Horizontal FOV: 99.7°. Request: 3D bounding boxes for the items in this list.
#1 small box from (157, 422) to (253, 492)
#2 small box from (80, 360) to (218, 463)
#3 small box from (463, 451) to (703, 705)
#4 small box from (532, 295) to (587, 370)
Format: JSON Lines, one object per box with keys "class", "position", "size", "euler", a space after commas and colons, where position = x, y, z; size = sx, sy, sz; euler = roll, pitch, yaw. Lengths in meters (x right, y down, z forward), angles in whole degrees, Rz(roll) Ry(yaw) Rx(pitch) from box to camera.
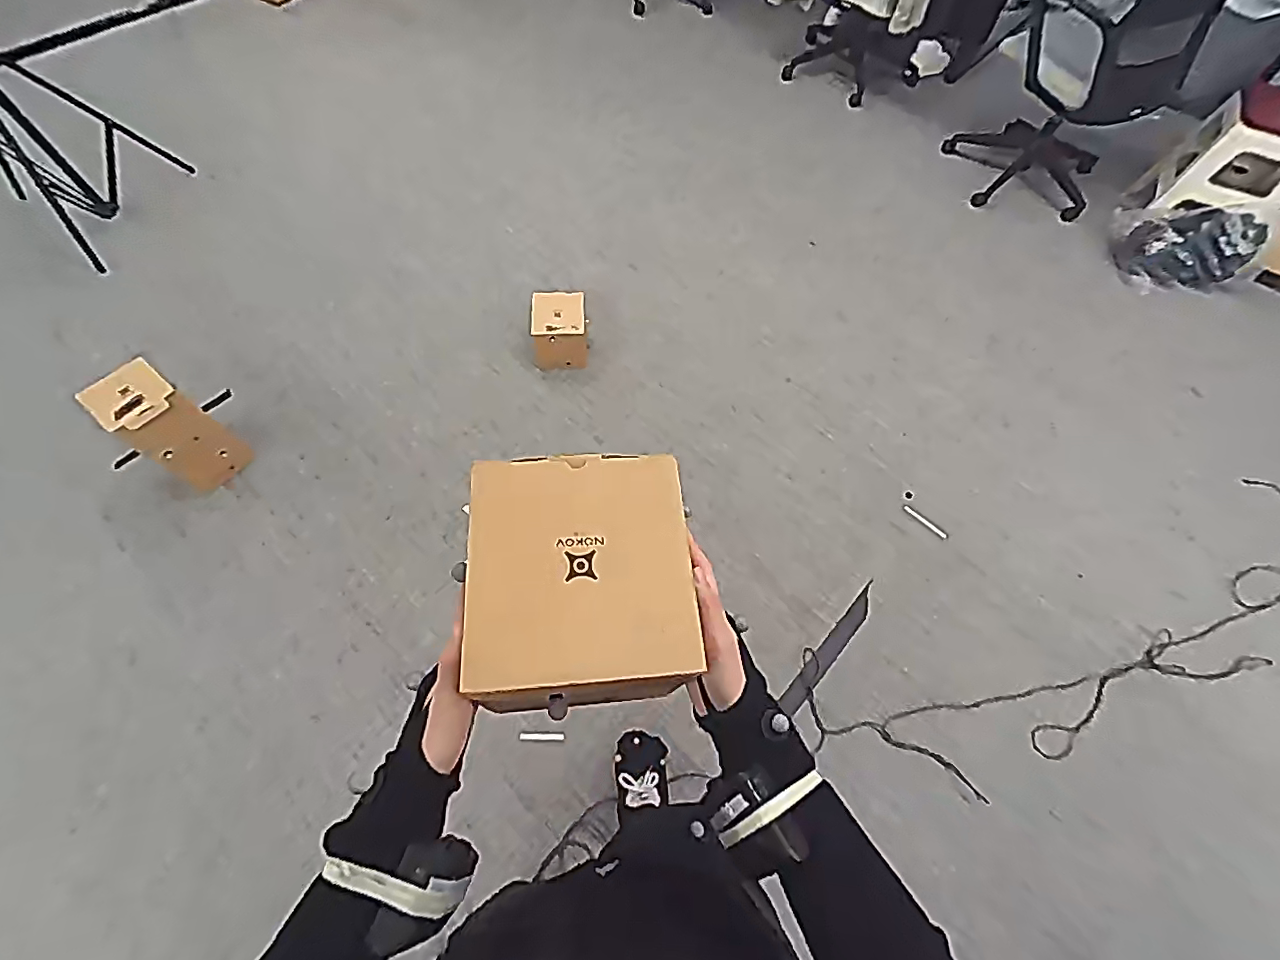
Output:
{"class": "small box", "position": [-1.263, -0.090, 1.541], "size": [0.179, 0.176, 0.168], "euler": [35, 66, 16]}
{"class": "small box", "position": [-1.254, -0.169, 1.397], "size": [0.179, 0.176, 0.168], "euler": [36, 67, 16]}
{"class": "small box", "position": [-0.050, 0.094, 0.471], "size": [0.168, 0.176, 0.179], "euler": [-3, 62, -8]}
{"class": "small box", "position": [-0.261, -0.485, 1.777], "size": [0.168, 0.176, 0.179], "euler": [-2, 63, -4]}
